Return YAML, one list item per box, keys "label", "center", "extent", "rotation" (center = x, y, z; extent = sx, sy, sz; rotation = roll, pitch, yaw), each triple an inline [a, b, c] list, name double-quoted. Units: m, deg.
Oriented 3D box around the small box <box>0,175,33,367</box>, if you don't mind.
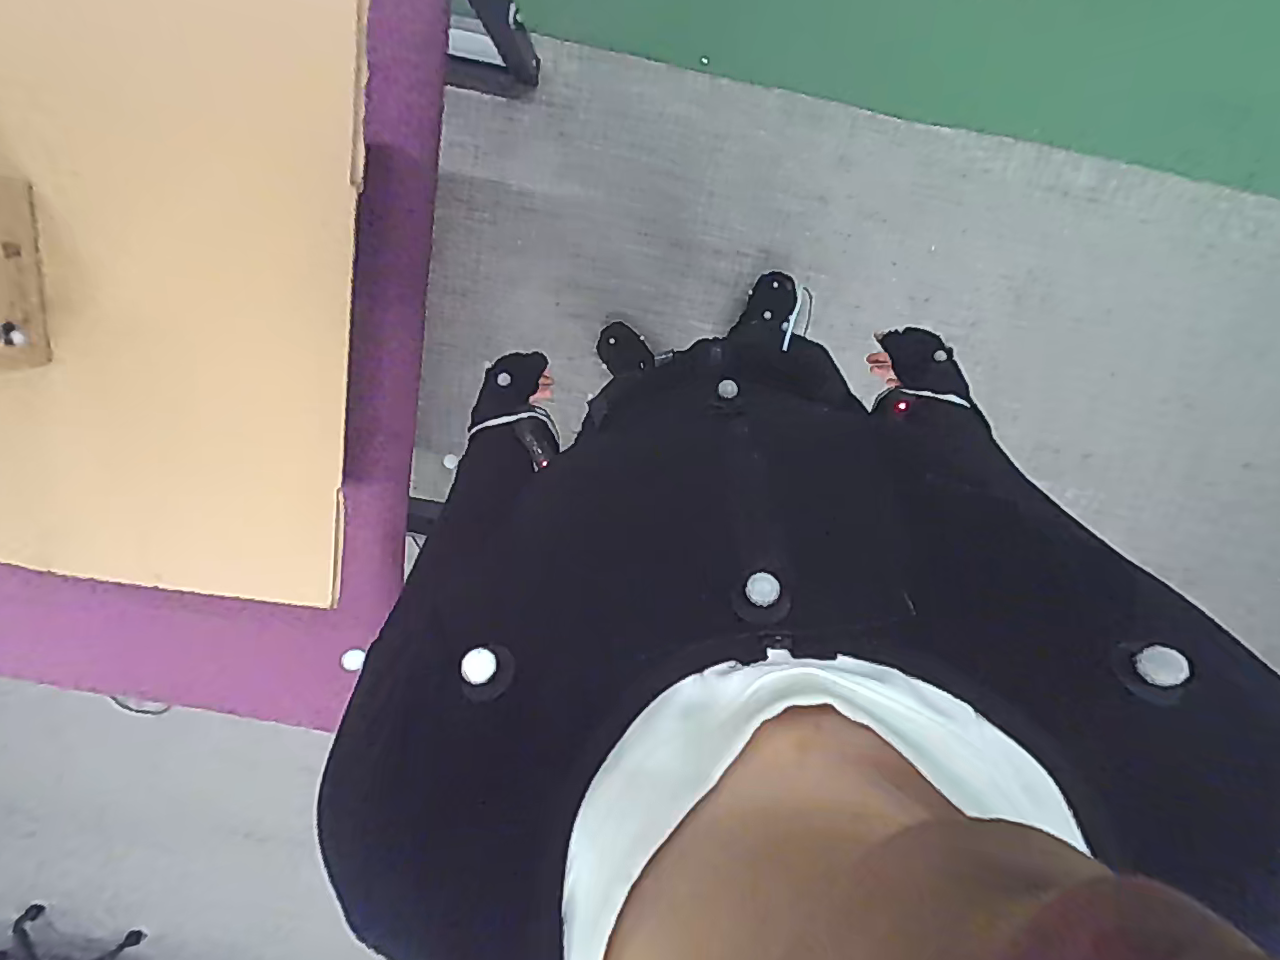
- label: "small box"
  center: [-0.622, -0.172, 0.402]
  extent: [0.179, 0.176, 0.168]
  rotation: [10, 109, -3]
